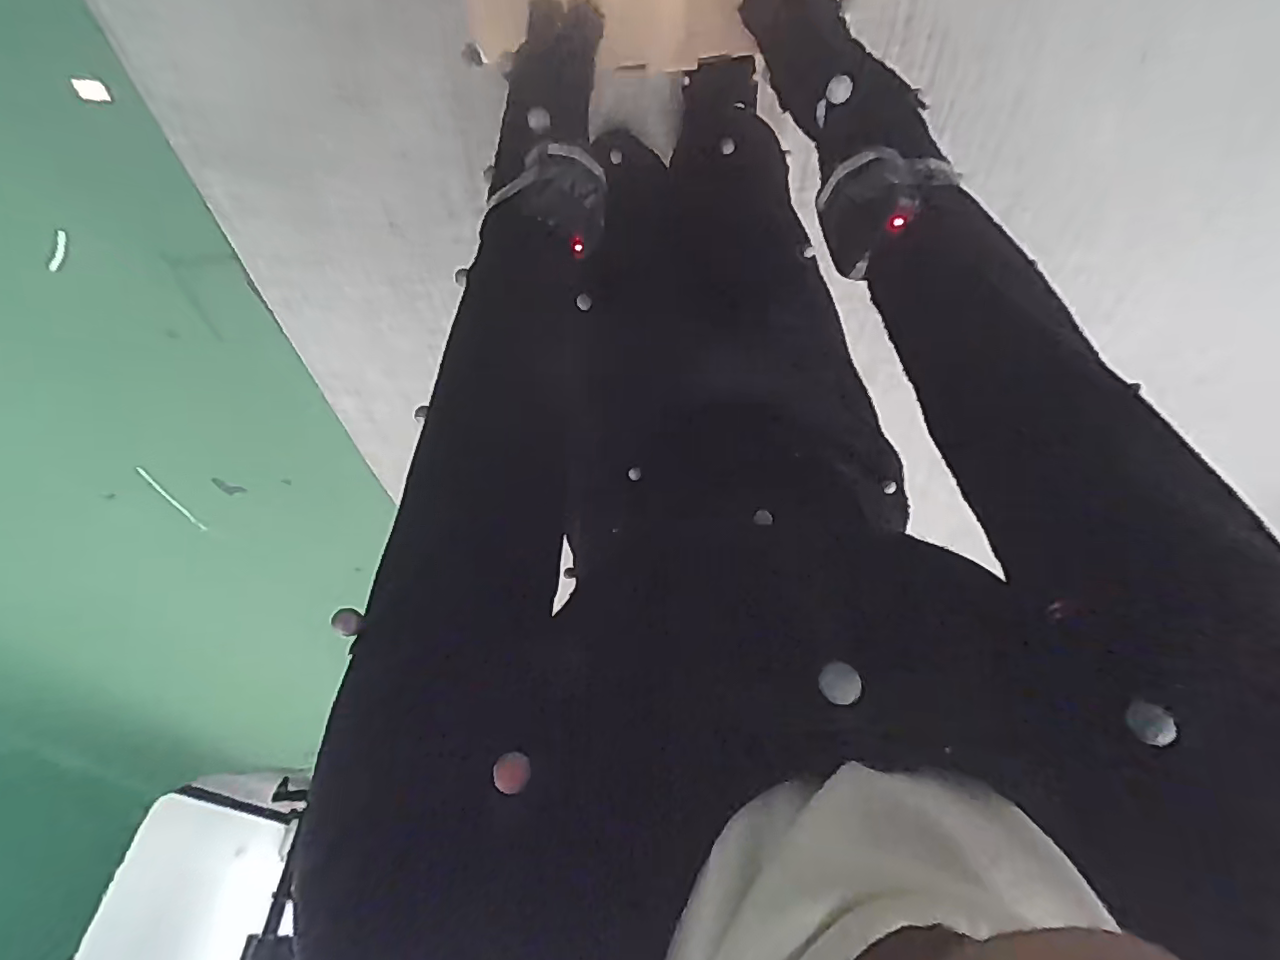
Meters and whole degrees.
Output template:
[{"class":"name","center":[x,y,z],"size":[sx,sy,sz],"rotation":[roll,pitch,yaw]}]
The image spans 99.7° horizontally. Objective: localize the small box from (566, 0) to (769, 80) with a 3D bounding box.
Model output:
[{"class":"small box","center":[0.020,-0.470,0.450],"size":[0.168,0.176,0.179],"rotation":[-3,141,4]}]
